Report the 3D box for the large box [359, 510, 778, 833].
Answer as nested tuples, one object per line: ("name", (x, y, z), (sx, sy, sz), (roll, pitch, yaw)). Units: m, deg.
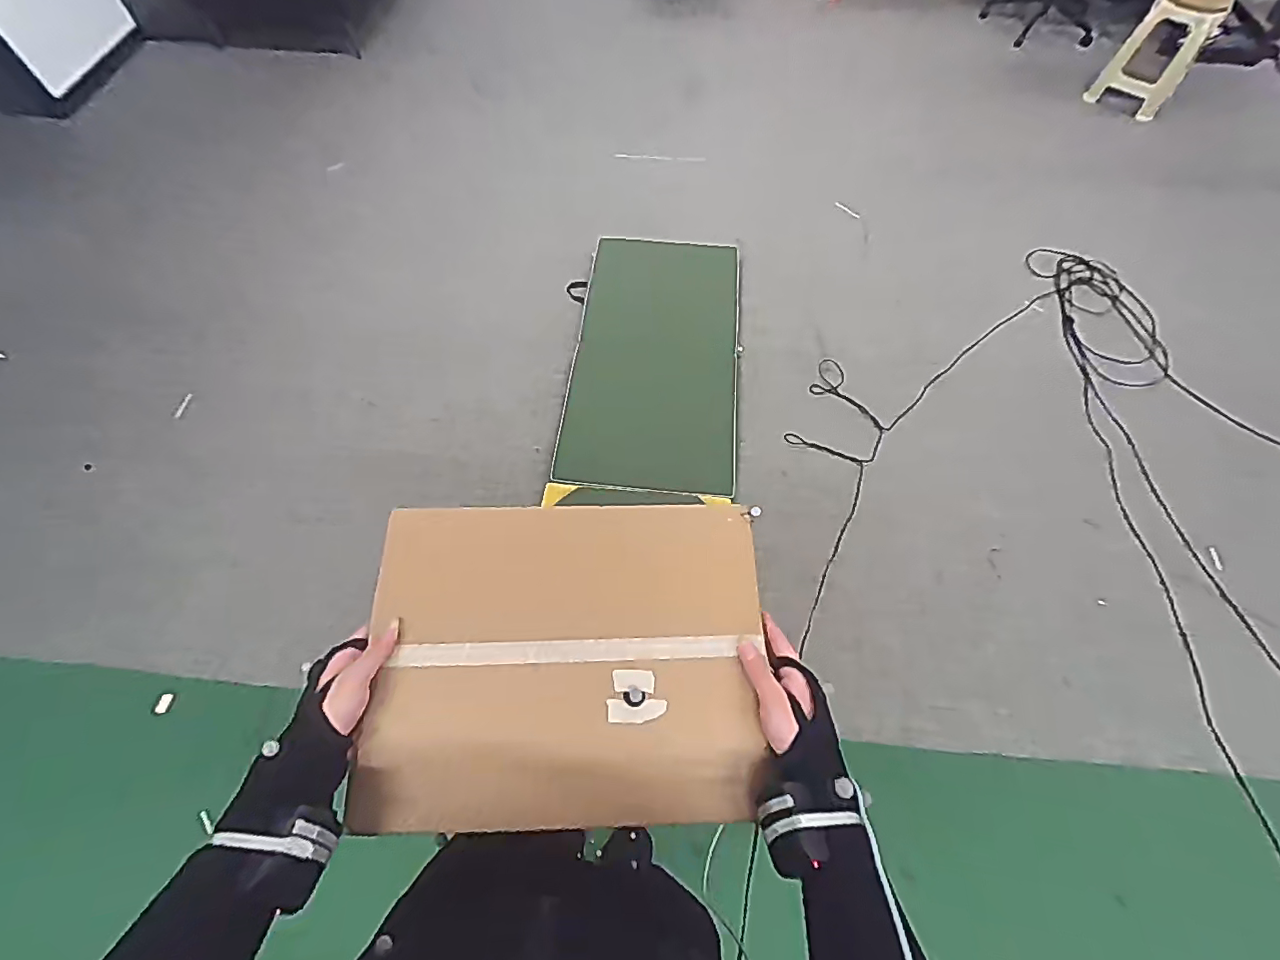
("large box", (-0.077, 0.238, 0.702), (0.408, 0.320, 0.320), (0, 67, -3))
